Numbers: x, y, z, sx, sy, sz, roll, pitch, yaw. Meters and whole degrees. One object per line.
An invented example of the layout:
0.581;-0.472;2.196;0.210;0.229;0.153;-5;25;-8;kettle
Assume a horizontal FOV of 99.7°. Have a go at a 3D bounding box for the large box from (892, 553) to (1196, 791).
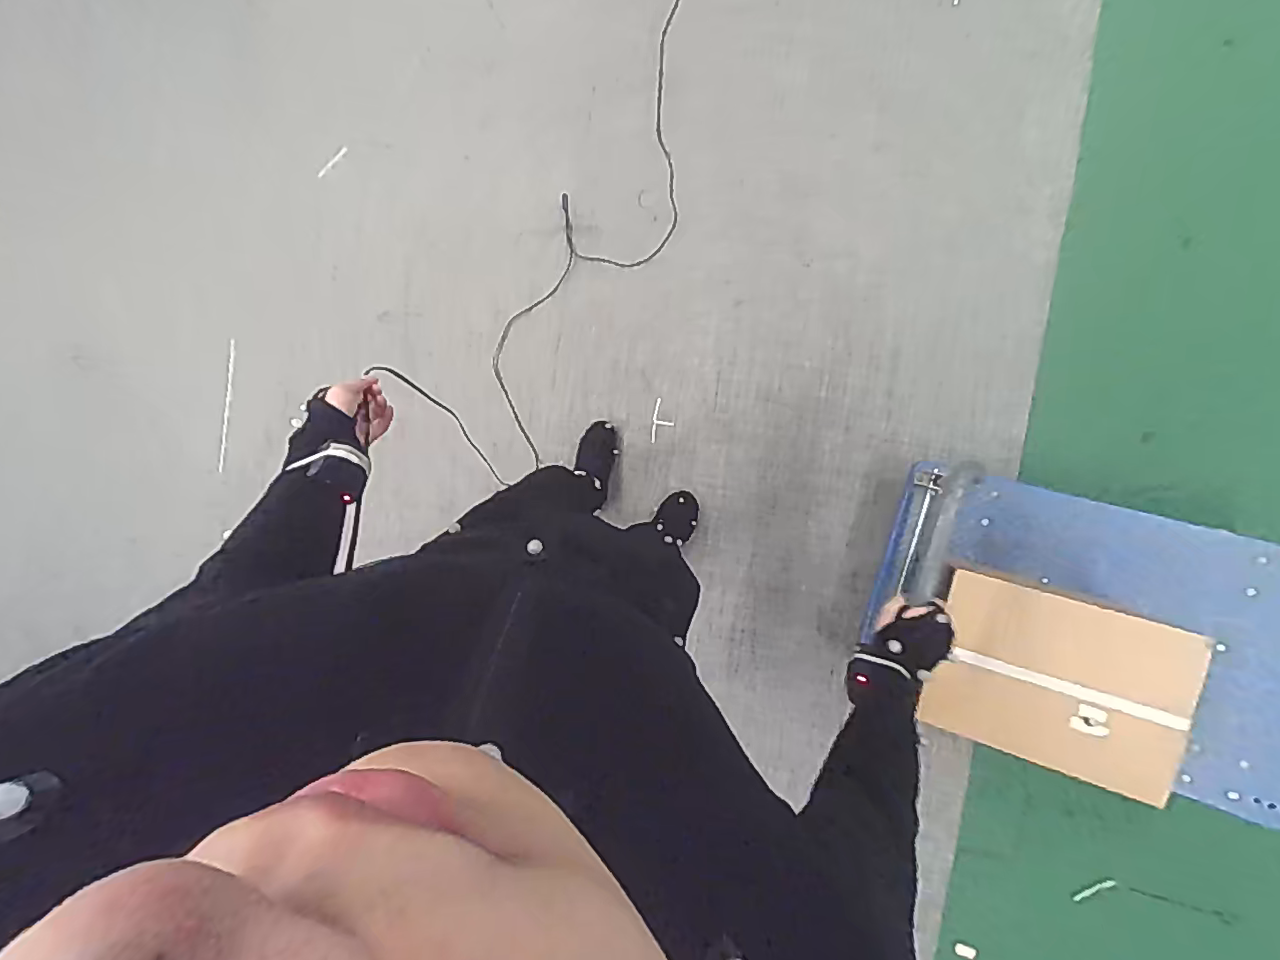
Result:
0.799;0.364;1.152;0.408;0.320;0.320;15;94;19;large box
